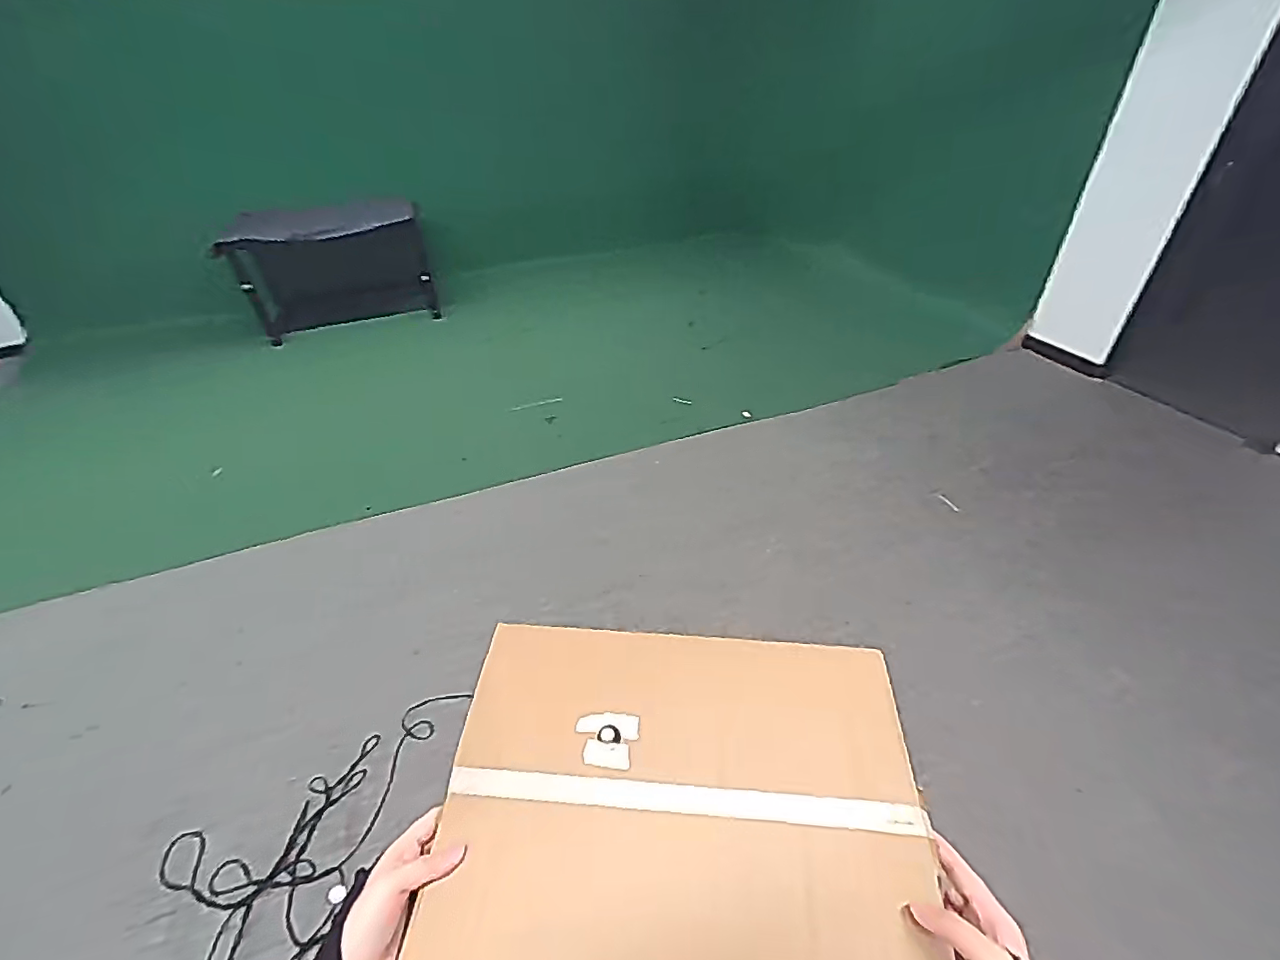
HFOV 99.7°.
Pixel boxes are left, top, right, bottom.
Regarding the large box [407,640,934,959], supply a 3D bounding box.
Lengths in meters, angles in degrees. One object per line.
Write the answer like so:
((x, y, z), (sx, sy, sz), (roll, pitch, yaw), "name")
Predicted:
((0.036, 0.389, 0.584), (0.408, 0.320, 0.320), (1, 46, 6), "large box")
